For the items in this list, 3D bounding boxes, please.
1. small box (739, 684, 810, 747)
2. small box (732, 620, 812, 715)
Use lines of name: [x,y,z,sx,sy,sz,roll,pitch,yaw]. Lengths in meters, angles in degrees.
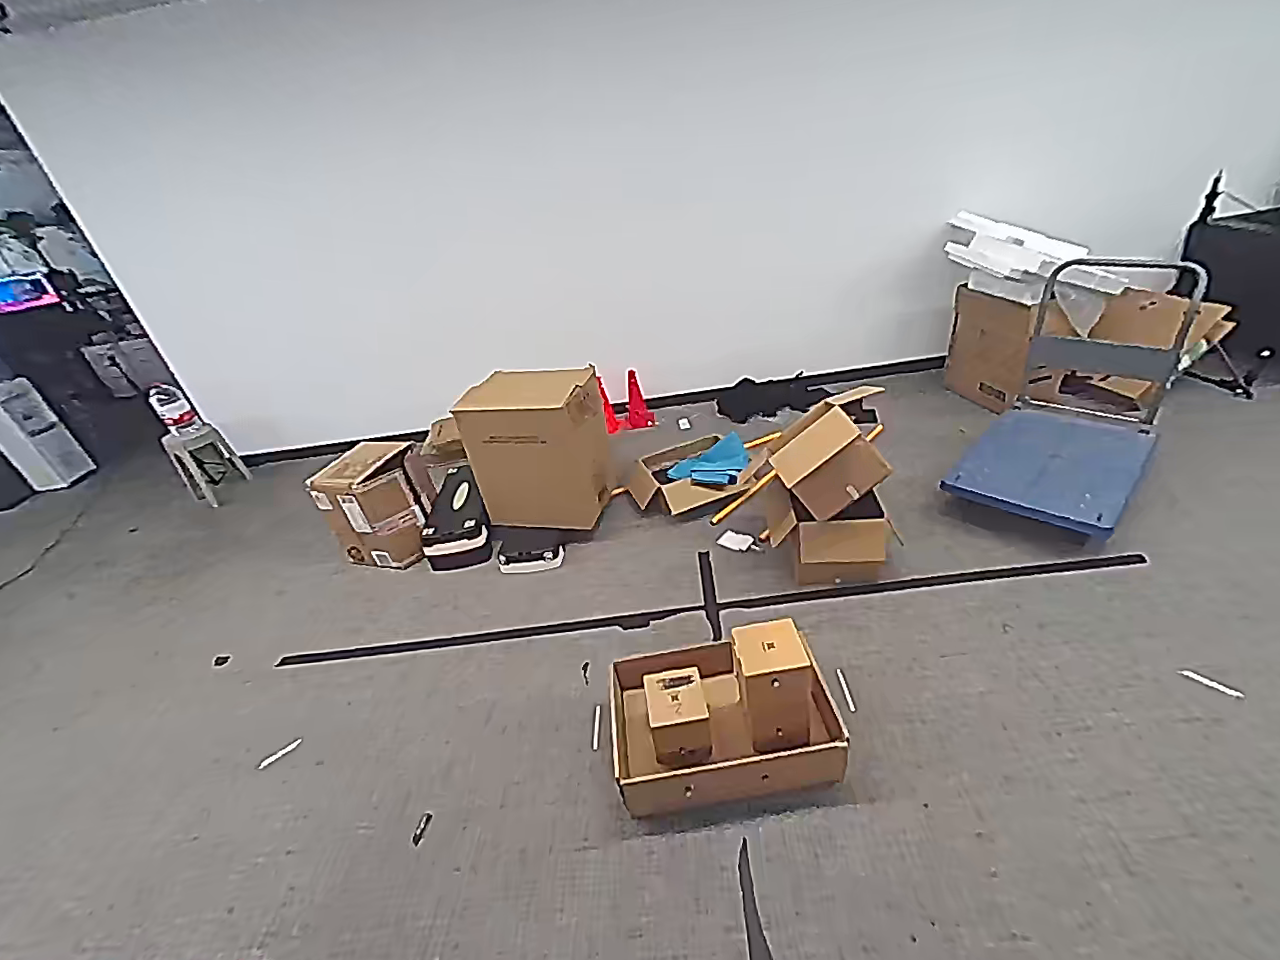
small box: [0.387,0.648,1.566,0.168,0.176,0.179,-9,30,1]
small box: [0.359,0.513,1.480,0.179,0.176,0.168,-11,31,1]
